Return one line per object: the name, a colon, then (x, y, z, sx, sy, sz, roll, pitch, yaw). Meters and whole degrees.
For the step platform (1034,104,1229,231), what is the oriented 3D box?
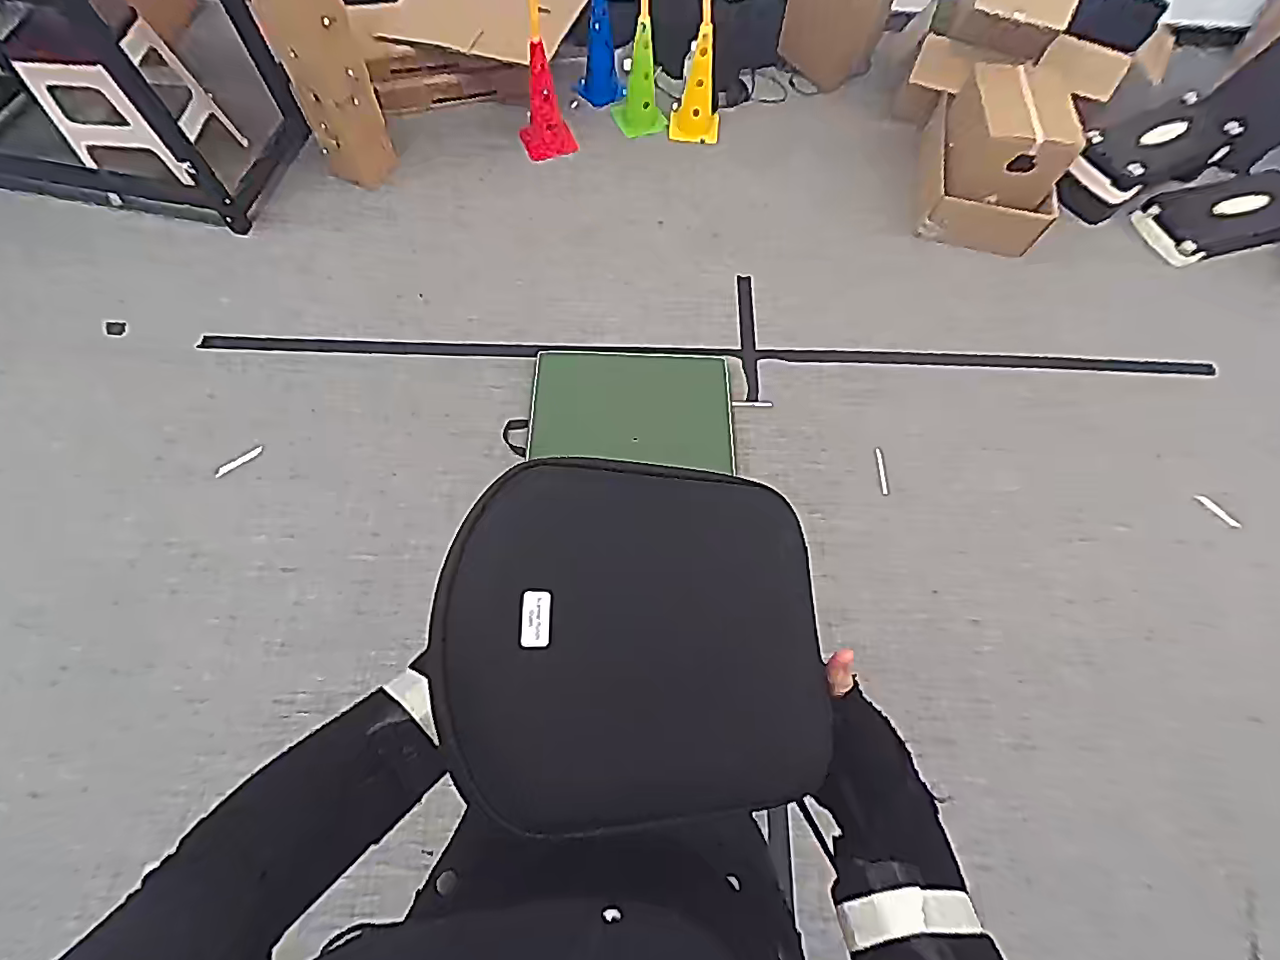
step platform: (1.947, -1.244, 2.143, 0.684, 0.204, 0.286, -26, 70, -13)
